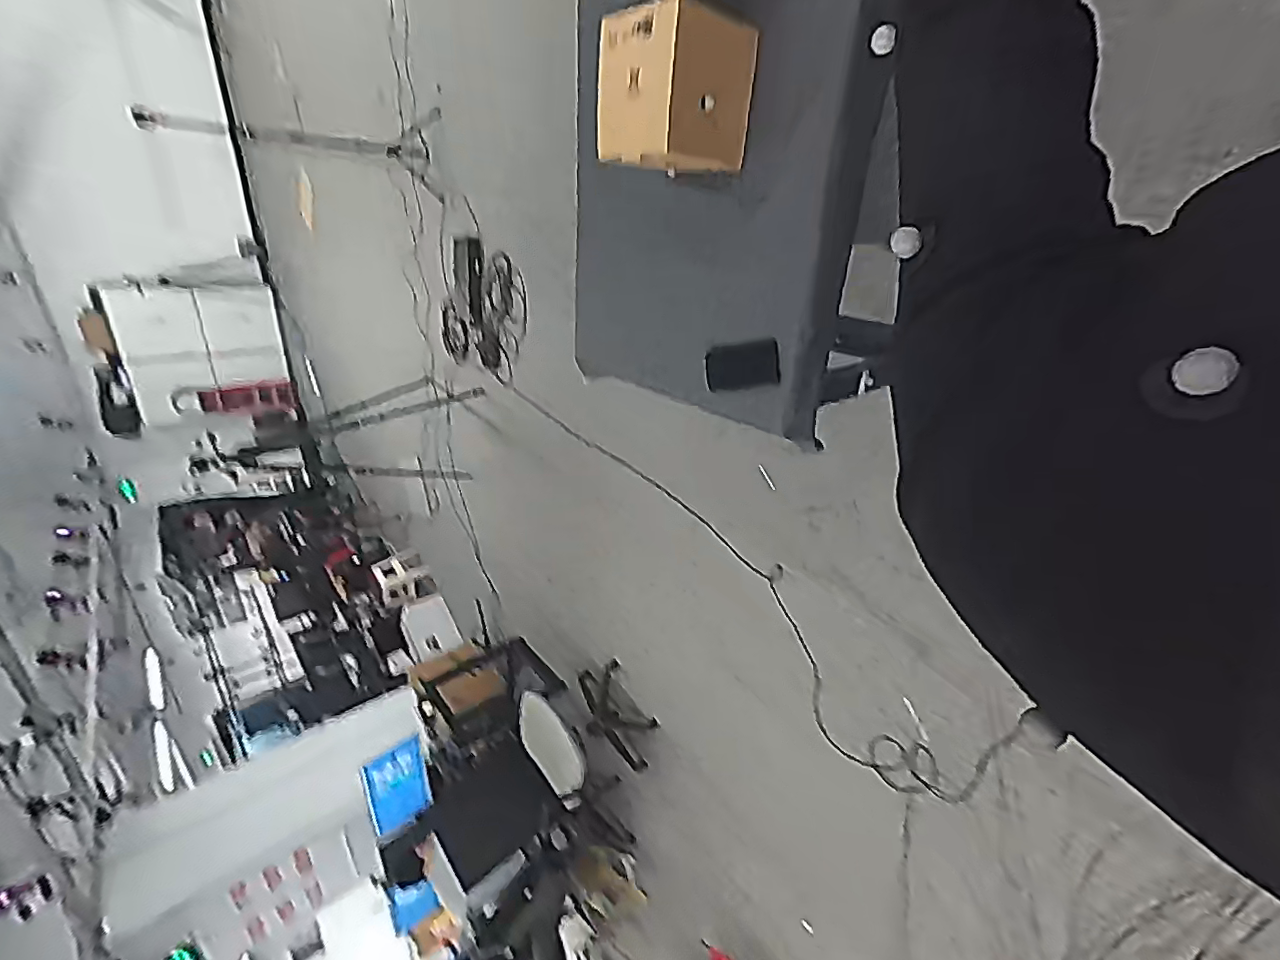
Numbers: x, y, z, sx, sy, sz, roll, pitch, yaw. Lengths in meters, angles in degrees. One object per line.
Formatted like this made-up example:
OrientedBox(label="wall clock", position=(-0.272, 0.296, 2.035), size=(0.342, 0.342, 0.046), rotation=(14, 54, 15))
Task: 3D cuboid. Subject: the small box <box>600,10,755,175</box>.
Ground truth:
OrientedBox(label="small box", position=(0.056, -0.571, 0.826), size=(0.168, 0.176, 0.179), rotation=(28, 125, 41))
